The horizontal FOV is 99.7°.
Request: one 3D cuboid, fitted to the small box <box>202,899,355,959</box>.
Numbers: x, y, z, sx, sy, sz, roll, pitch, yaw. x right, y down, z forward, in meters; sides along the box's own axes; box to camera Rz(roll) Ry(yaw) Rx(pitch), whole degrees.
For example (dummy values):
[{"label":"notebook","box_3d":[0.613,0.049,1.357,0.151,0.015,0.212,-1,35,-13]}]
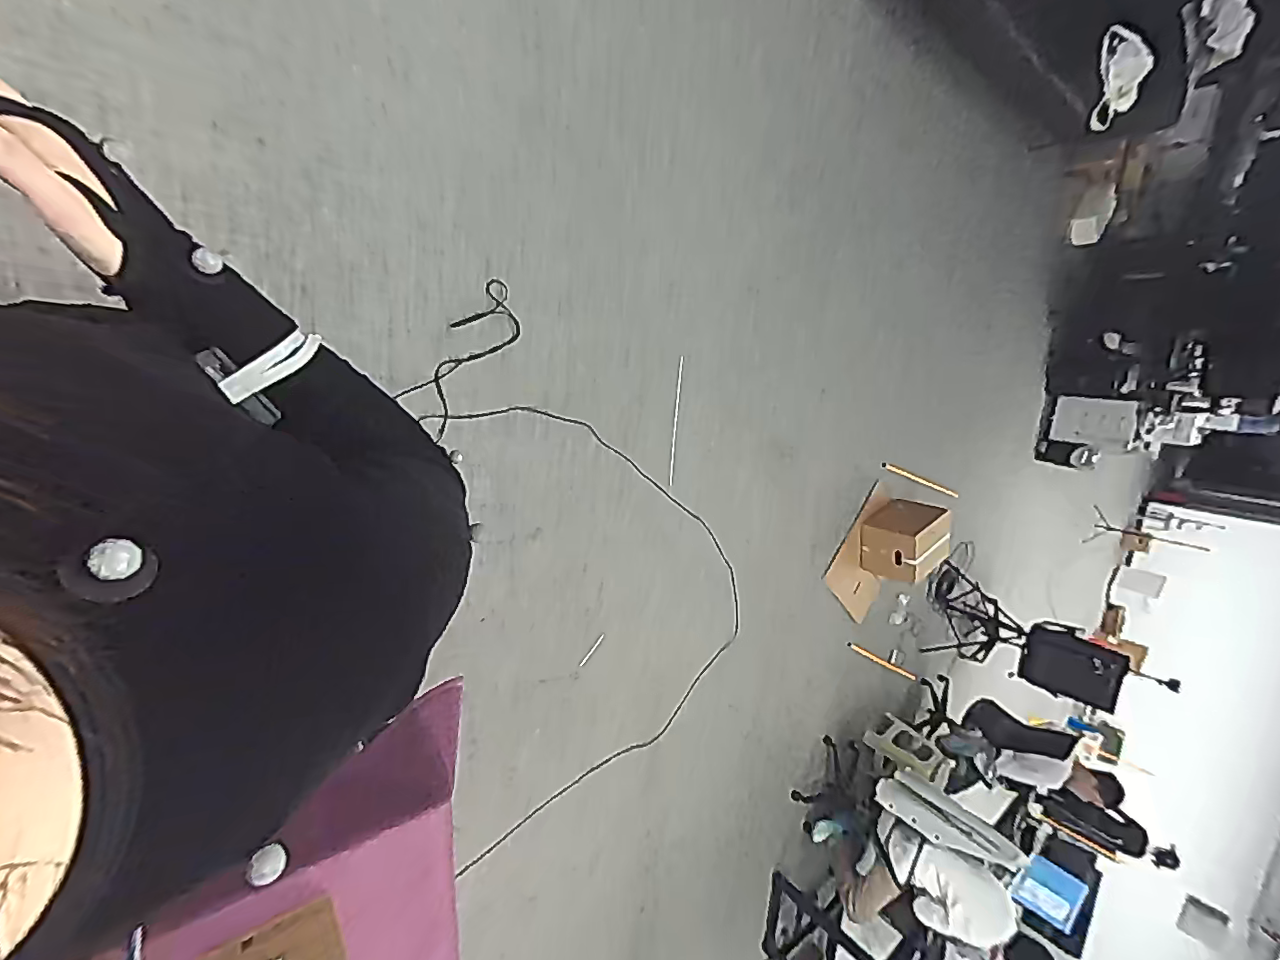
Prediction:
[{"label":"small box","box_3d":[-0.476,0.714,0.721,0.168,0.176,0.179,-8,107,-37]}]
